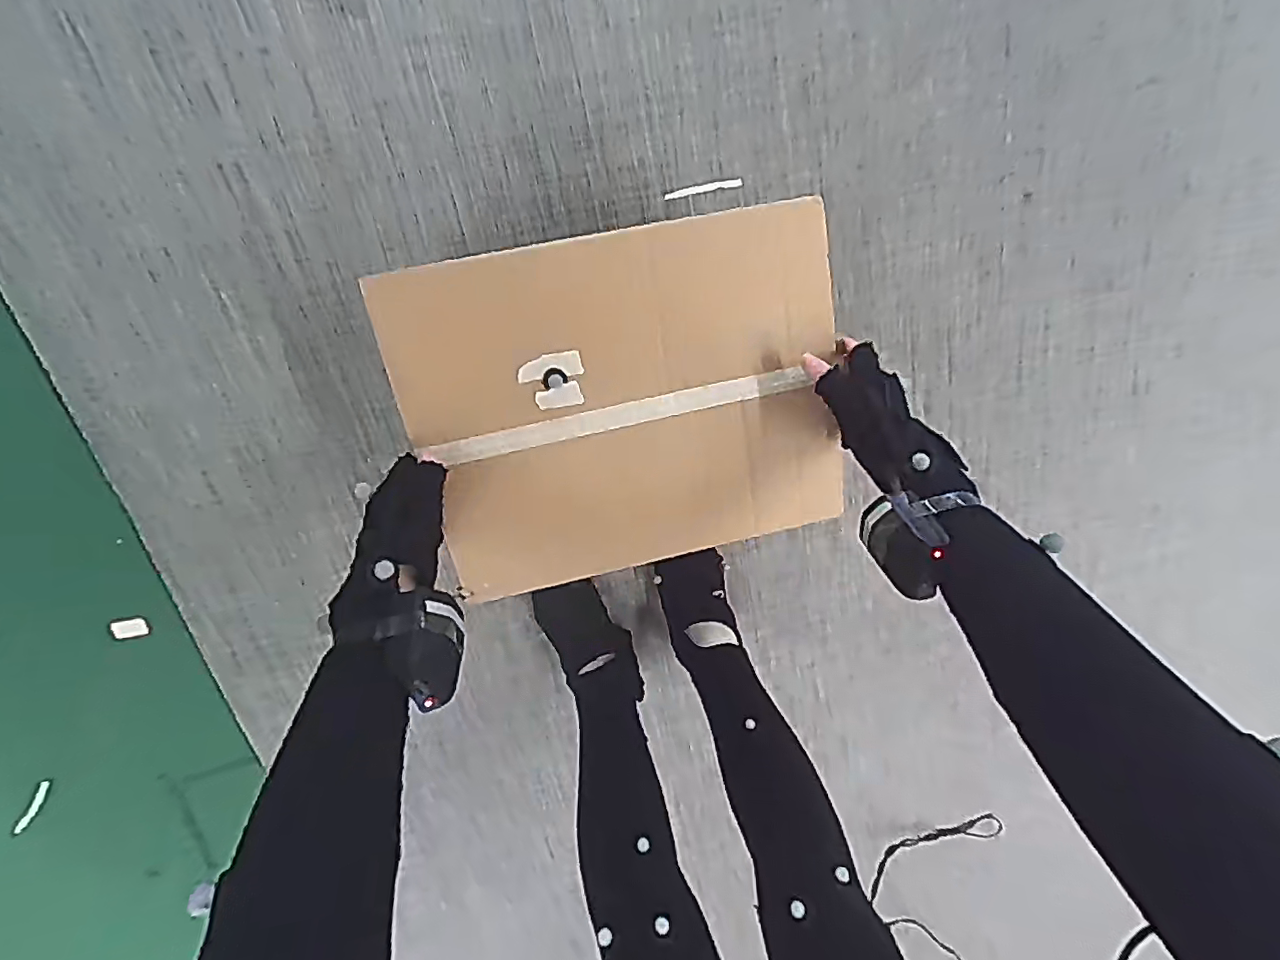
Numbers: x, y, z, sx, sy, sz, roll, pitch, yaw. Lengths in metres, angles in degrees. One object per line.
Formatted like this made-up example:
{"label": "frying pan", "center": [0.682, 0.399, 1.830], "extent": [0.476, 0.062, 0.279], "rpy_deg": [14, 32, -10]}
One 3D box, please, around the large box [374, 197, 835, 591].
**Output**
{"label": "large box", "center": [-0.029, -0.116, 0.659], "extent": [0.408, 0.320, 0.320], "rpy_deg": [-12, 108, -5]}
